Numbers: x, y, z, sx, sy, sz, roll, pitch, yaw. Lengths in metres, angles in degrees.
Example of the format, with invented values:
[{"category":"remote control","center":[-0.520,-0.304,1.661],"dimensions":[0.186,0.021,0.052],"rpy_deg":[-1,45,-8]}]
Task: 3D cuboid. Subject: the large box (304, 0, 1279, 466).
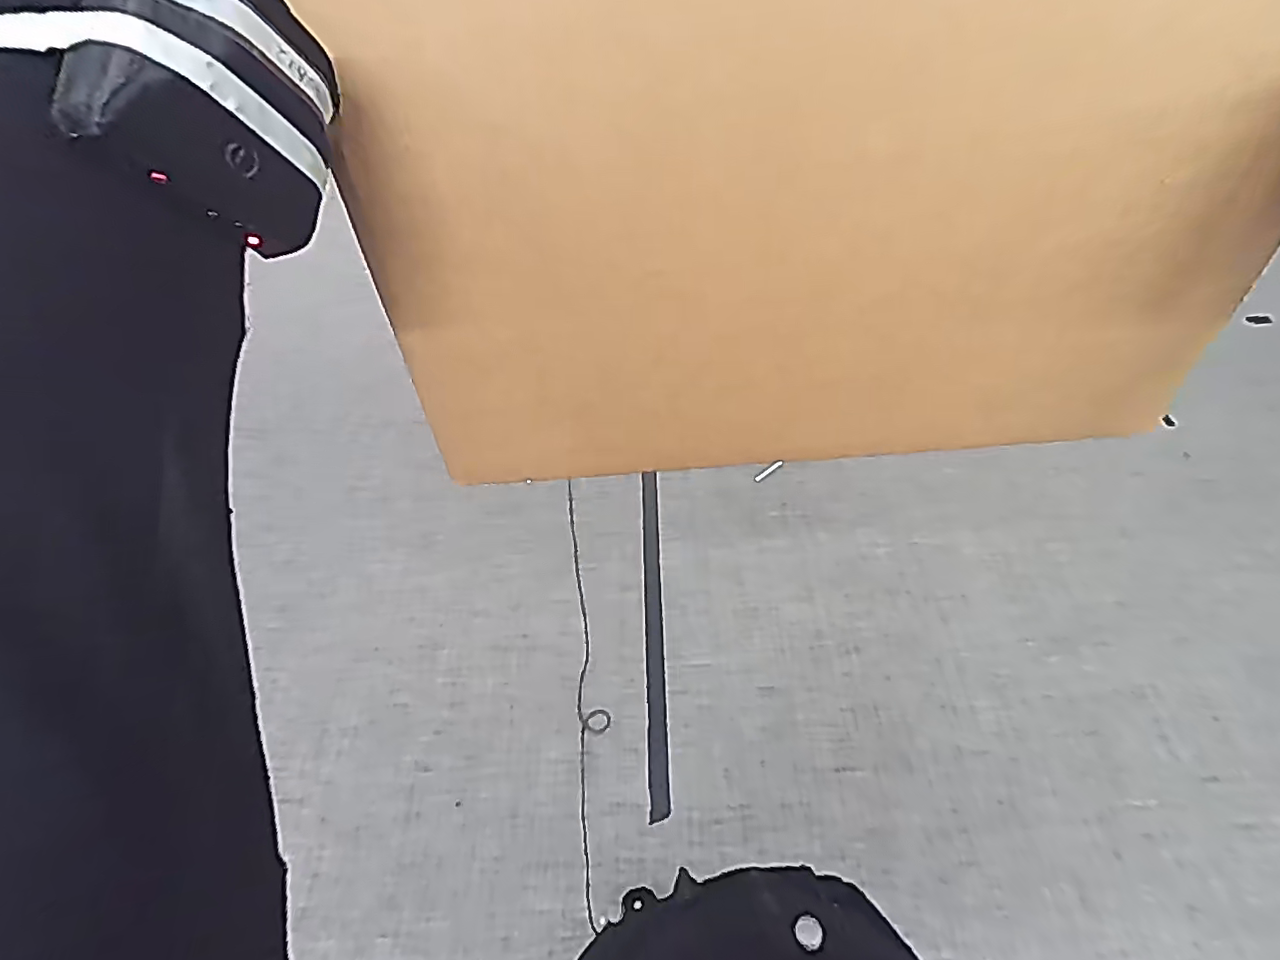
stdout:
[{"category":"large box","center":[0.074,-0.229,0.333],"dimensions":[0.408,0.320,0.320],"rpy_deg":[-4,41,0]}]
